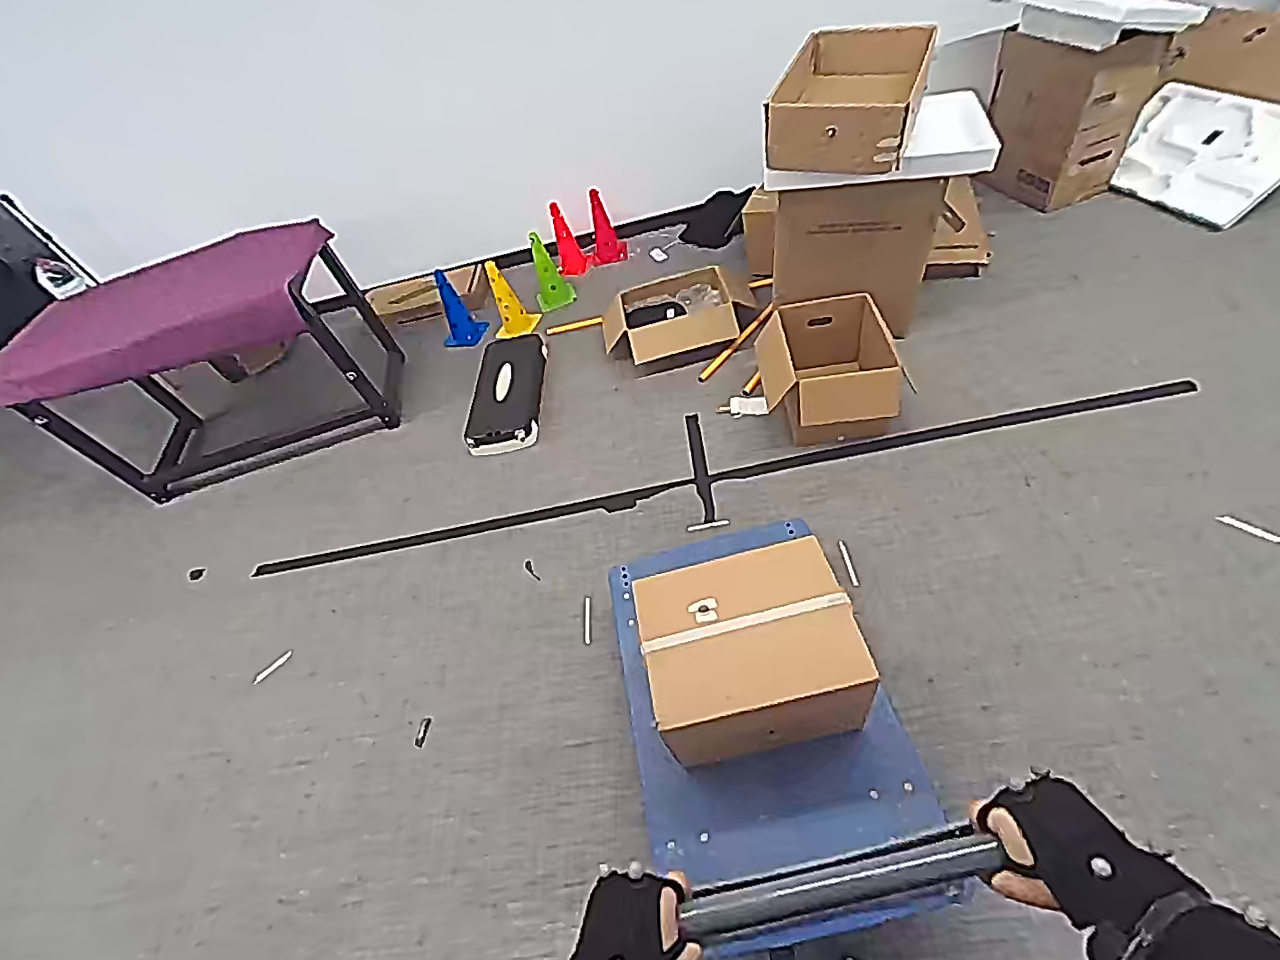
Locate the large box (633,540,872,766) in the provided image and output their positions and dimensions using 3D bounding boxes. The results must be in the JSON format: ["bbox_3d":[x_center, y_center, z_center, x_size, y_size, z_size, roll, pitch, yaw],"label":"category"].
[{"bbox_3d":[0.233,0.384,1.175,0.408,0.320,0.320,-16,48,4],"label":"large box"}]
